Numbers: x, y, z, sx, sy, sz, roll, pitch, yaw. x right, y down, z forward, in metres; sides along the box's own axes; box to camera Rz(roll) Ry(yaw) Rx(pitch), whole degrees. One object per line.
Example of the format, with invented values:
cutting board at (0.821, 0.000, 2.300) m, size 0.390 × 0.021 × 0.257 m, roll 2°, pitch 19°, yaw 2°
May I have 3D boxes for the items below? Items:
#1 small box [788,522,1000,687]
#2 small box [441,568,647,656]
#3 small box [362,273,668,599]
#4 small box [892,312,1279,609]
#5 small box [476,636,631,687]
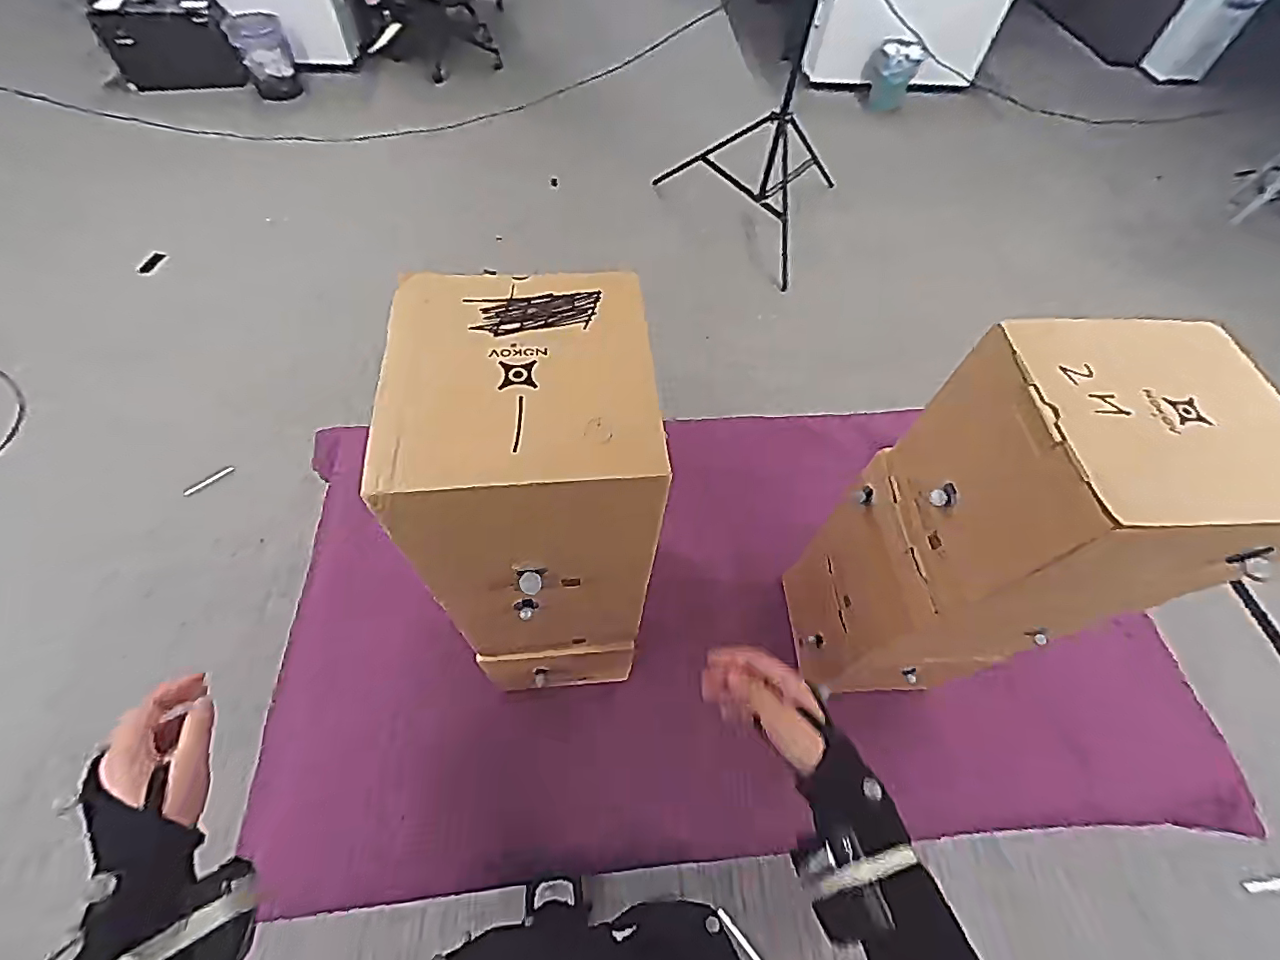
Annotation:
small box at (0.302, 0.165, 0.696) m, size 0.179 × 0.176 × 0.168 m, roll 0°, pitch 59°, yaw -5°
small box at (-0.090, 0.058, 0.541) m, size 0.168 × 0.176 × 0.179 m, roll -5°, pitch 57°, yaw -7°
small box at (-0.079, -0.028, 0.401) m, size 0.168 × 0.176 × 0.179 m, roll -4°, pitch 59°, yaw -6°
small box at (0.333, -0.006, 0.416) m, size 0.179 × 0.176 × 0.168 m, roll -1°, pitch 58°, yaw -5°
small box at (-0.100, 0.152, 0.675) m, size 0.168 × 0.176 × 0.179 m, roll -4°, pitch 58°, yaw -6°
